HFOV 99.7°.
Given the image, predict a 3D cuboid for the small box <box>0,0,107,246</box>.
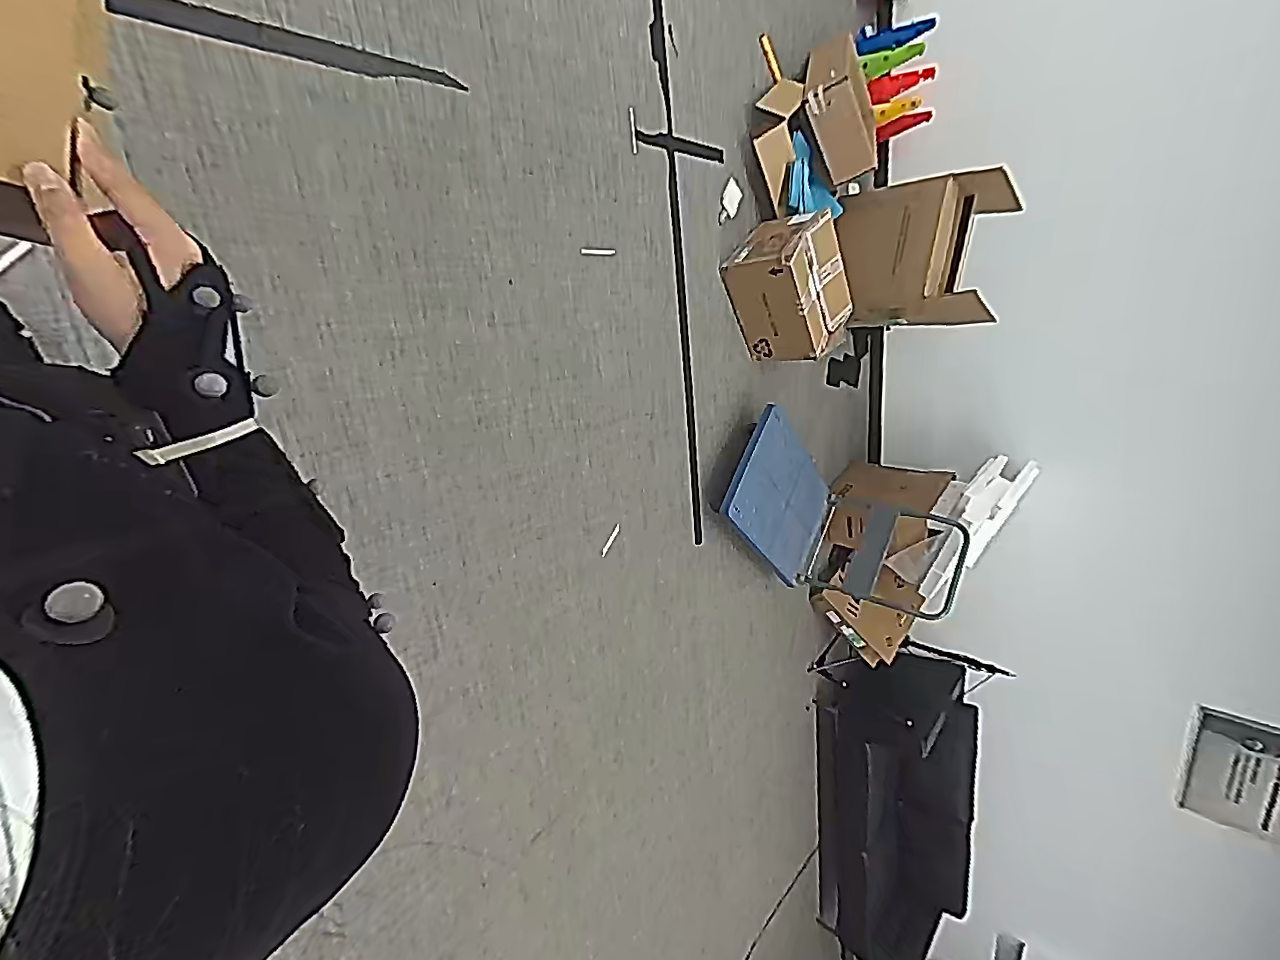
[{"bbox_3d":[-0.419,-0.253,0.300,0.168,0.176,0.179,4,94,-43],"label":"small box"}]
